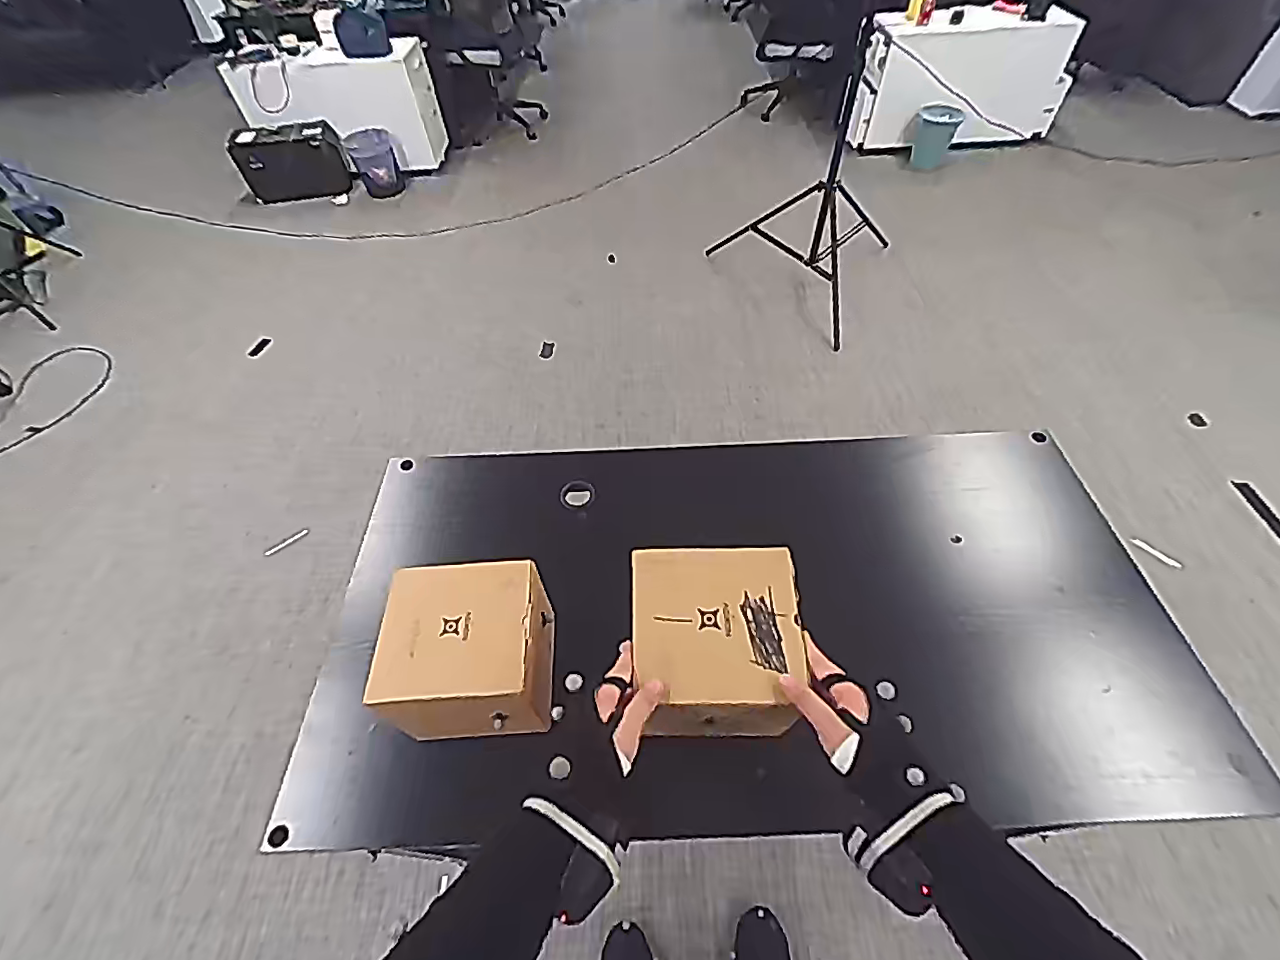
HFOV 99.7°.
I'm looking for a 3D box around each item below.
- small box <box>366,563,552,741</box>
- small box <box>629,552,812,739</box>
[{"bbox_3d":[-0.212,0.224,0.695,0.179,0.176,0.168,-5,51,0],"label":"small box"},{"bbox_3d":[0.078,0.193,0.619,0.179,0.176,0.168,-1,56,1],"label":"small box"}]
